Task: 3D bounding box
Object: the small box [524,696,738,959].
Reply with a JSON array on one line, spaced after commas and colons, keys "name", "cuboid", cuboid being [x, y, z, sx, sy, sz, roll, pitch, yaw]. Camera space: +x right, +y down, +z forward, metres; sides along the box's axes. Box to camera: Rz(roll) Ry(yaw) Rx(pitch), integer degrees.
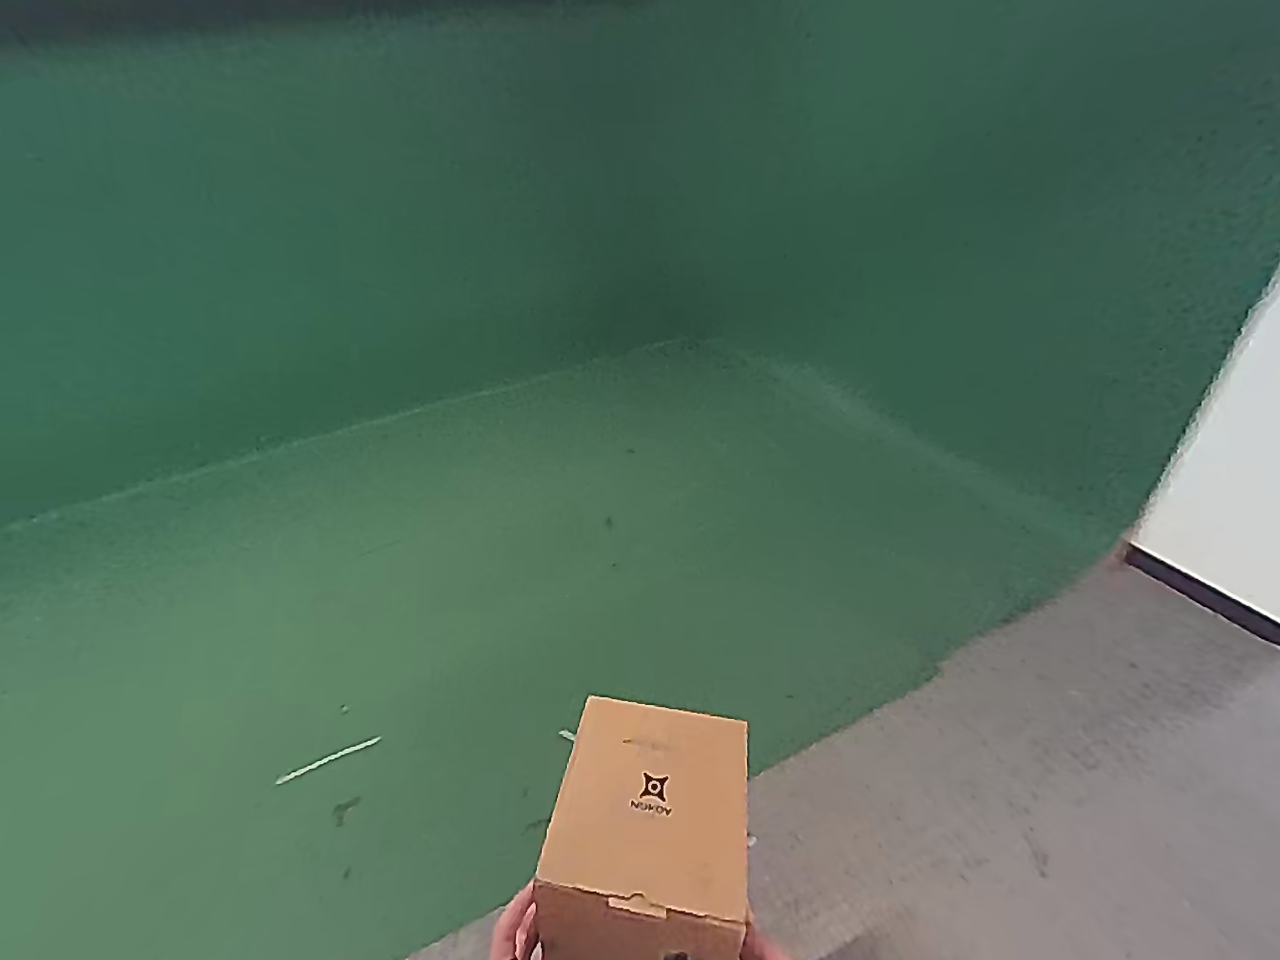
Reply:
[{"name": "small box", "cuboid": [0.002, 0.344, 0.518, 0.168, 0.176, 0.179, 6, 30, 7]}]
